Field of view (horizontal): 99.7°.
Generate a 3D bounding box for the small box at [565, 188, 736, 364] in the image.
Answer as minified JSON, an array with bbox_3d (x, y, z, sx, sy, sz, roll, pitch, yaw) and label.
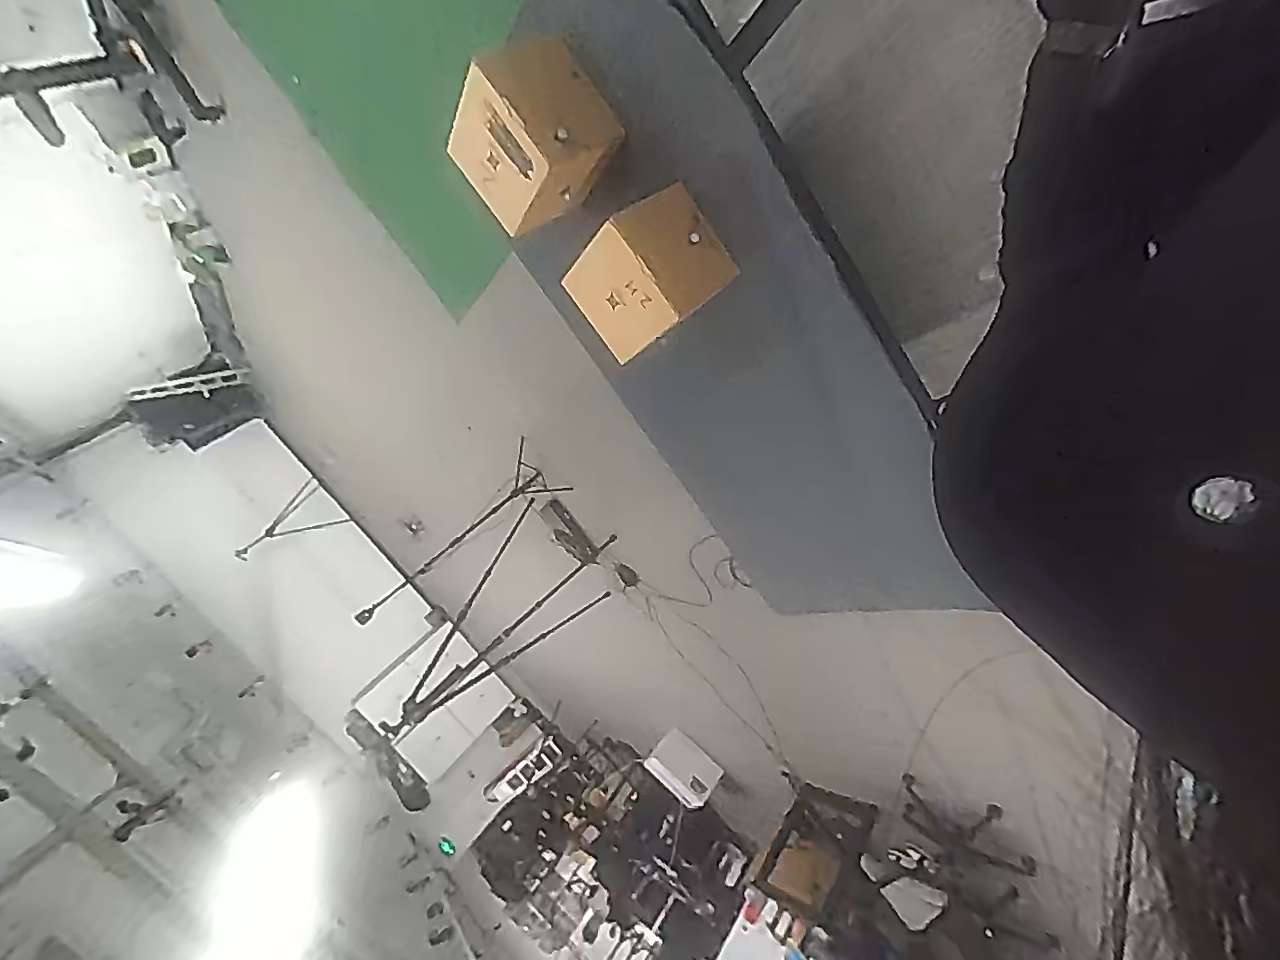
[{"bbox_3d":[0.018,-0.319,0.858,0.168,0.176,0.179,52,148,-10],"label":"small box"}]
